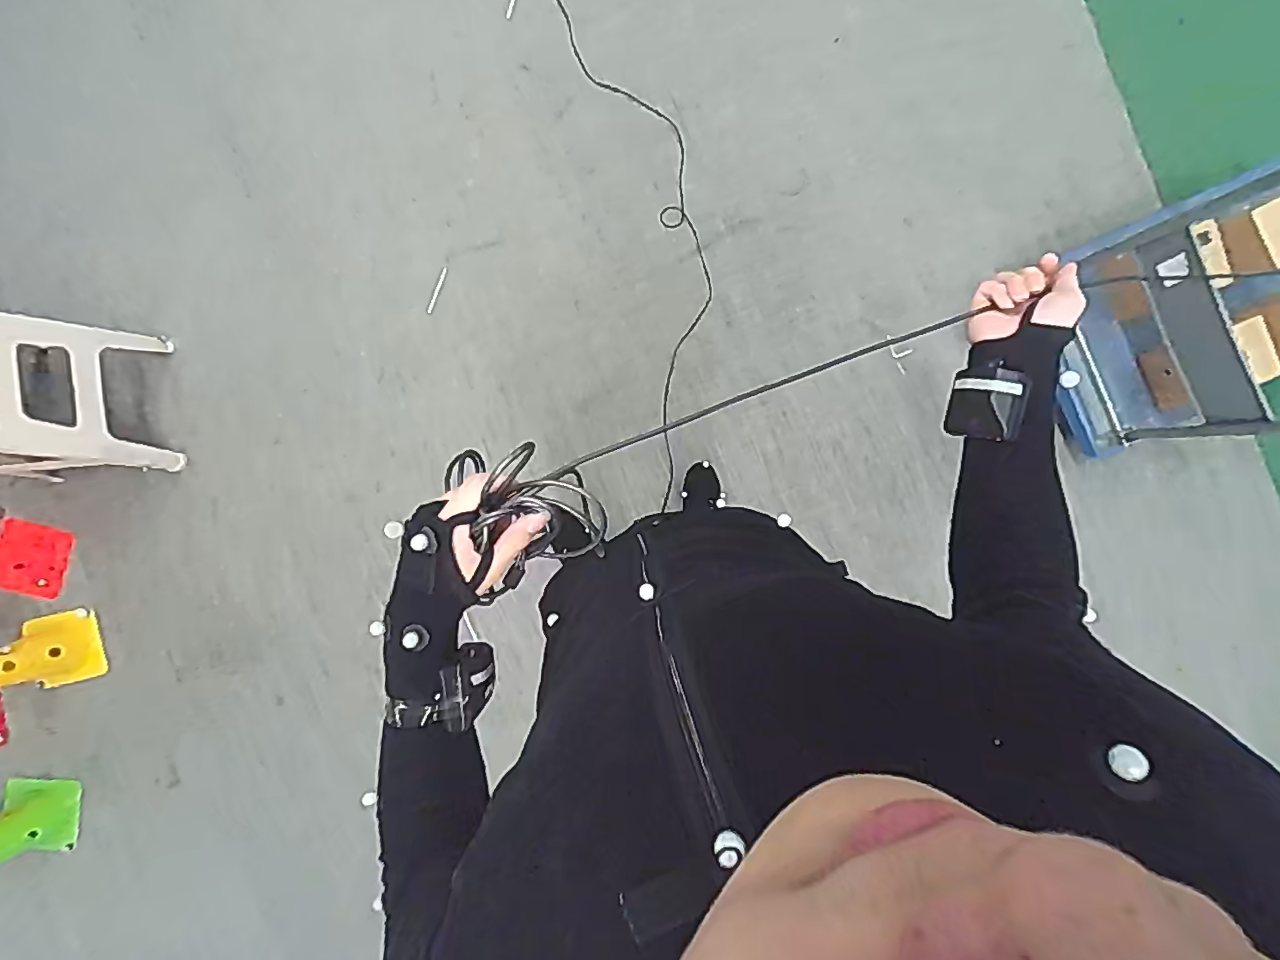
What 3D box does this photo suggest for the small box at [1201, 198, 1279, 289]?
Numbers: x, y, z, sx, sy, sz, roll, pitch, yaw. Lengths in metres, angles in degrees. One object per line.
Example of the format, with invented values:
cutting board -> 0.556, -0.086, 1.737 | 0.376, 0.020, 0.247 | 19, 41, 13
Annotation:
small box -> 1.656, -0.636, 1.429 | 0.179, 0.176, 0.168 | -28, 92, -2

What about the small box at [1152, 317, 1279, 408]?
small box -> 1.528, -0.304, 1.424 | 0.179, 0.176, 0.168 | -23, 91, -1

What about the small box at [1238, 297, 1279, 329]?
small box -> 1.775, -0.414, 1.432 | 0.179, 0.176, 0.168 | -28, 90, -1
